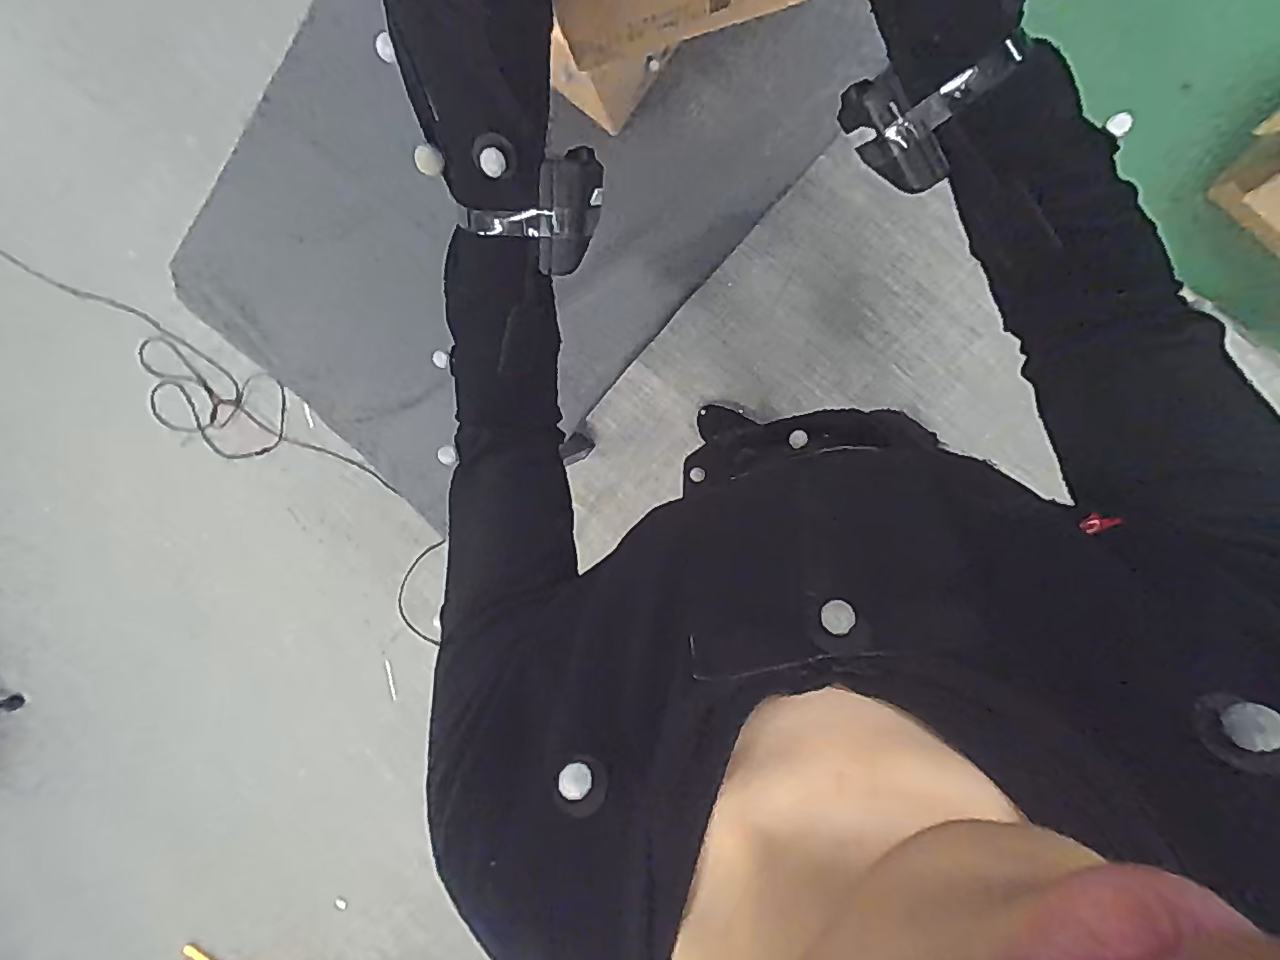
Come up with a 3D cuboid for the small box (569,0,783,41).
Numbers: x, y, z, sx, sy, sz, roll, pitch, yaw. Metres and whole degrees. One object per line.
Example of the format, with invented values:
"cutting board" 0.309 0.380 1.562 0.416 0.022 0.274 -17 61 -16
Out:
"small box" 0.016 -0.381 0.284 0.168 0.176 0.179 -10 96 9
